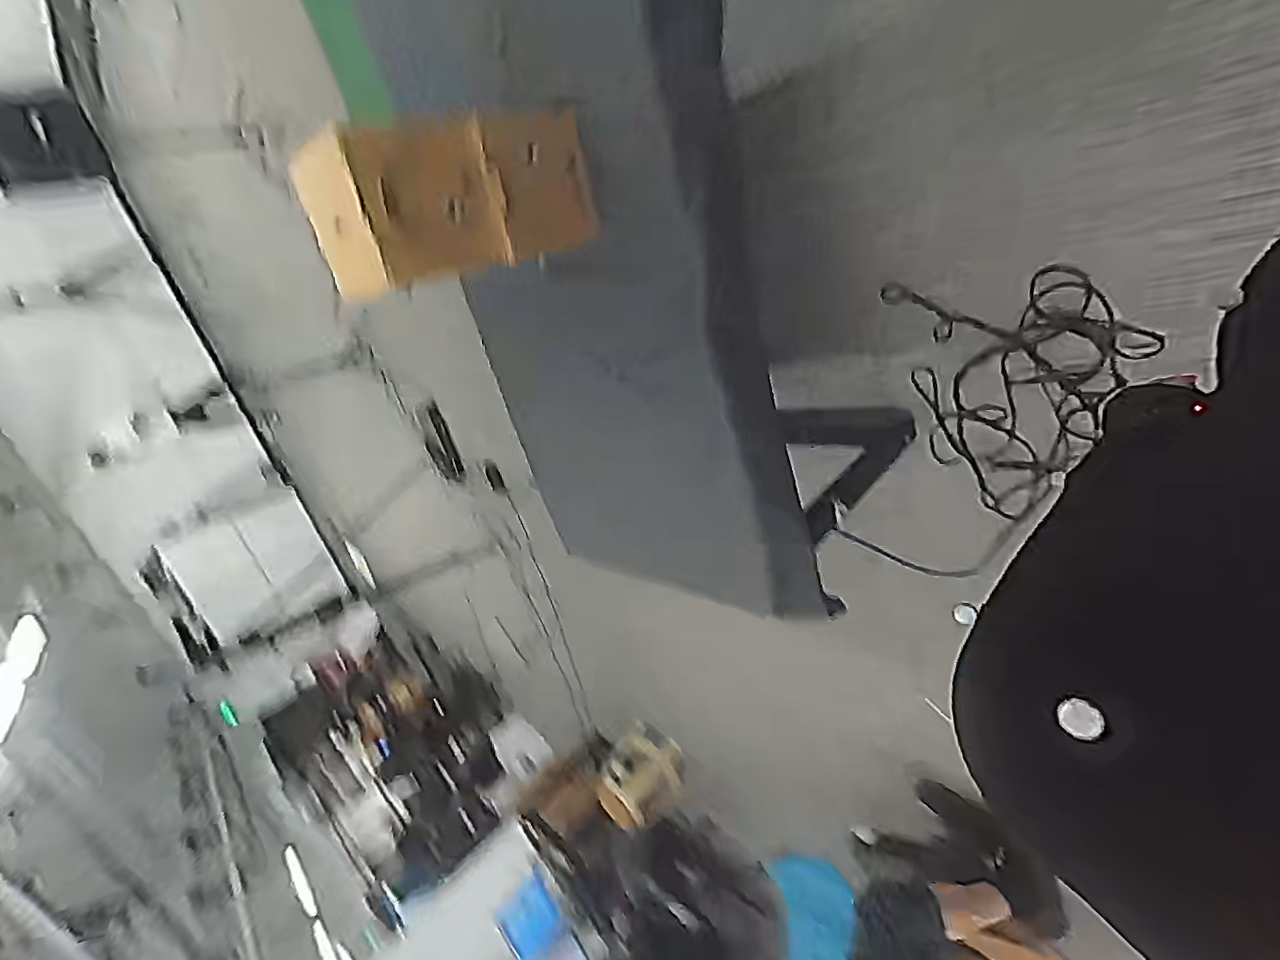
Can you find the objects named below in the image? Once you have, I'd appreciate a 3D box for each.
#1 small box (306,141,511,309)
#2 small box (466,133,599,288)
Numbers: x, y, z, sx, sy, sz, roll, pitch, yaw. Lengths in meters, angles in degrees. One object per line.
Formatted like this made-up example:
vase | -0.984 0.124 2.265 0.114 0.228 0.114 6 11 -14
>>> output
small box | -0.302 -0.334 0.720 0.179 0.176 0.168 10 122 44
small box | -0.179 -0.398 0.806 0.179 0.176 0.168 10 122 46
